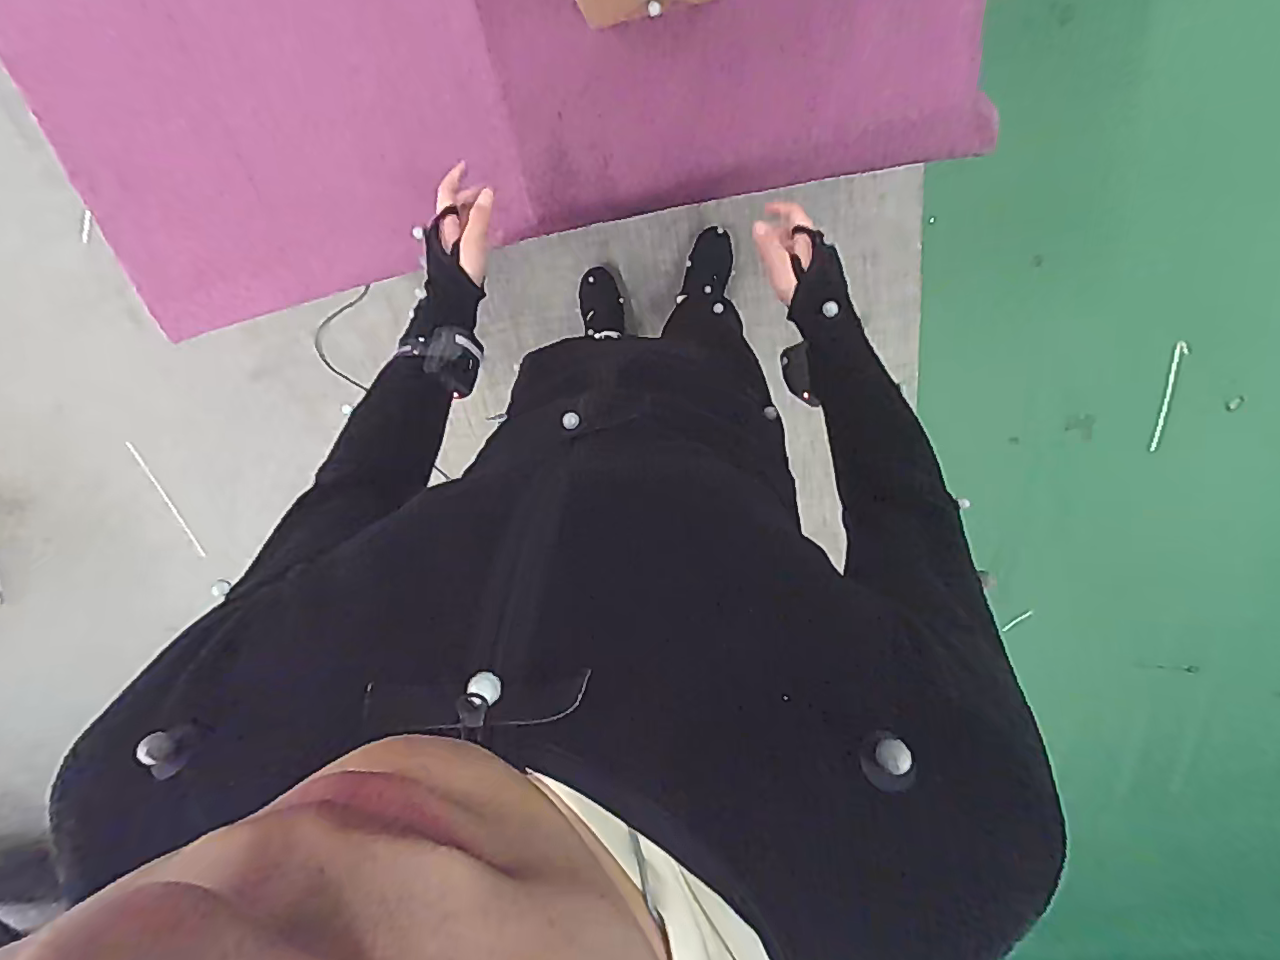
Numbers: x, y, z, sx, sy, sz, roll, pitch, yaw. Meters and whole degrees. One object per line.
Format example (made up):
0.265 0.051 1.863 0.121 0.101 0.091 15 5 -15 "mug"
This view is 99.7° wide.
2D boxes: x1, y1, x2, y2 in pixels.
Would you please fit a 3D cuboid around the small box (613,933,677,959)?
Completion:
0.014 1.402 1.508 0.168 0.176 0.179 -7 117 9 "small box"

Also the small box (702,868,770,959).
0.285 1.292 1.613 0.179 0.176 0.168 -9 115 10 "small box"

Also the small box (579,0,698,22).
-0.007 -0.595 0.527 0.168 0.176 0.179 -6 116 9 "small box"
